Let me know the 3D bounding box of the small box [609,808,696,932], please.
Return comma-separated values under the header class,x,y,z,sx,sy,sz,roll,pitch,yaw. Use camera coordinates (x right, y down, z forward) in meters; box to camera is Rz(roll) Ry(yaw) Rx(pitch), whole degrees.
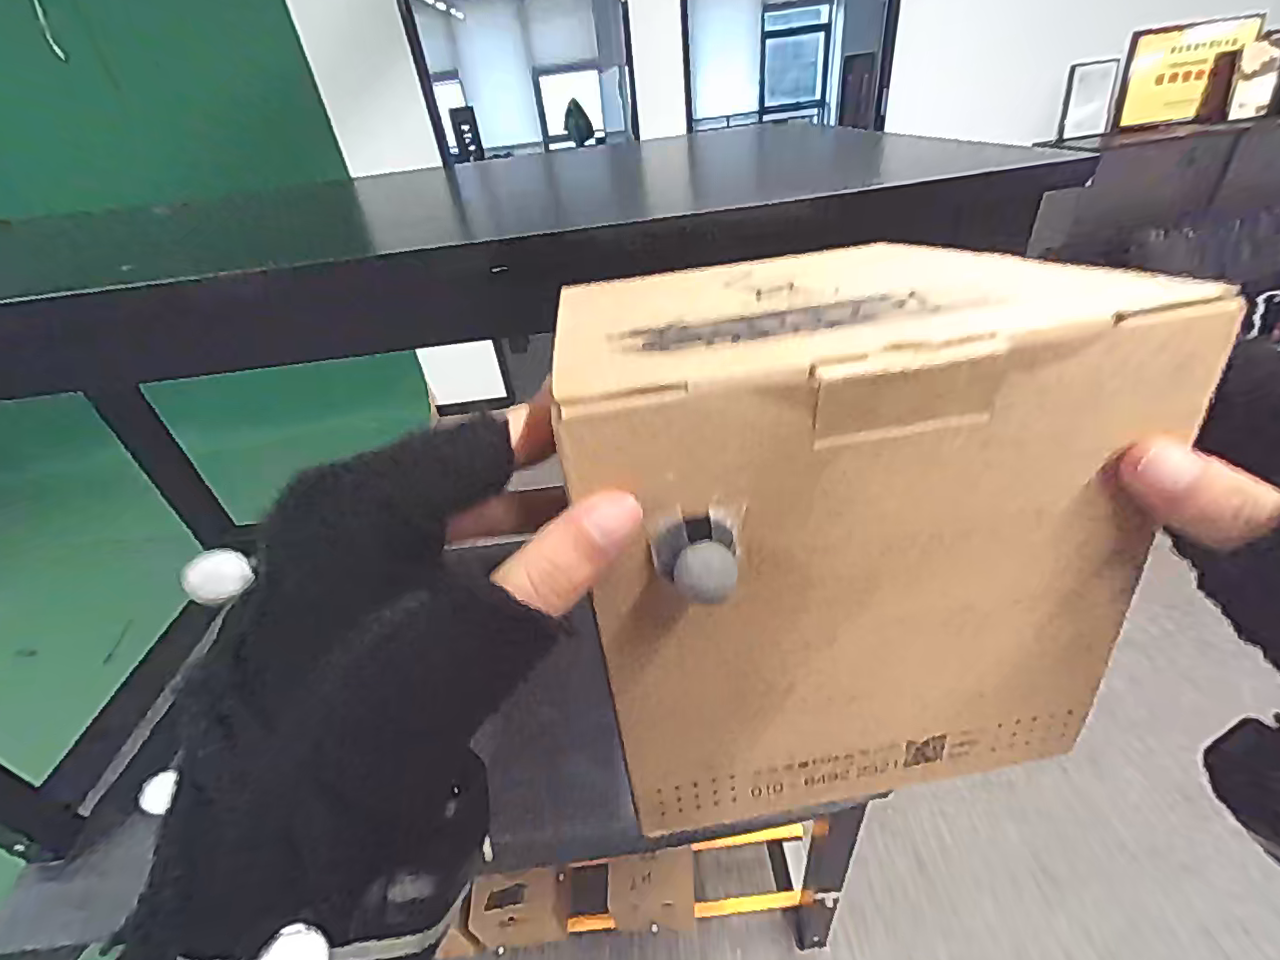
class,x,y,z,sx,sy,sz,roll,pitch,yaw
small box,0.032,0.832,1.157,0.168,0.176,0.179,-5,37,5
